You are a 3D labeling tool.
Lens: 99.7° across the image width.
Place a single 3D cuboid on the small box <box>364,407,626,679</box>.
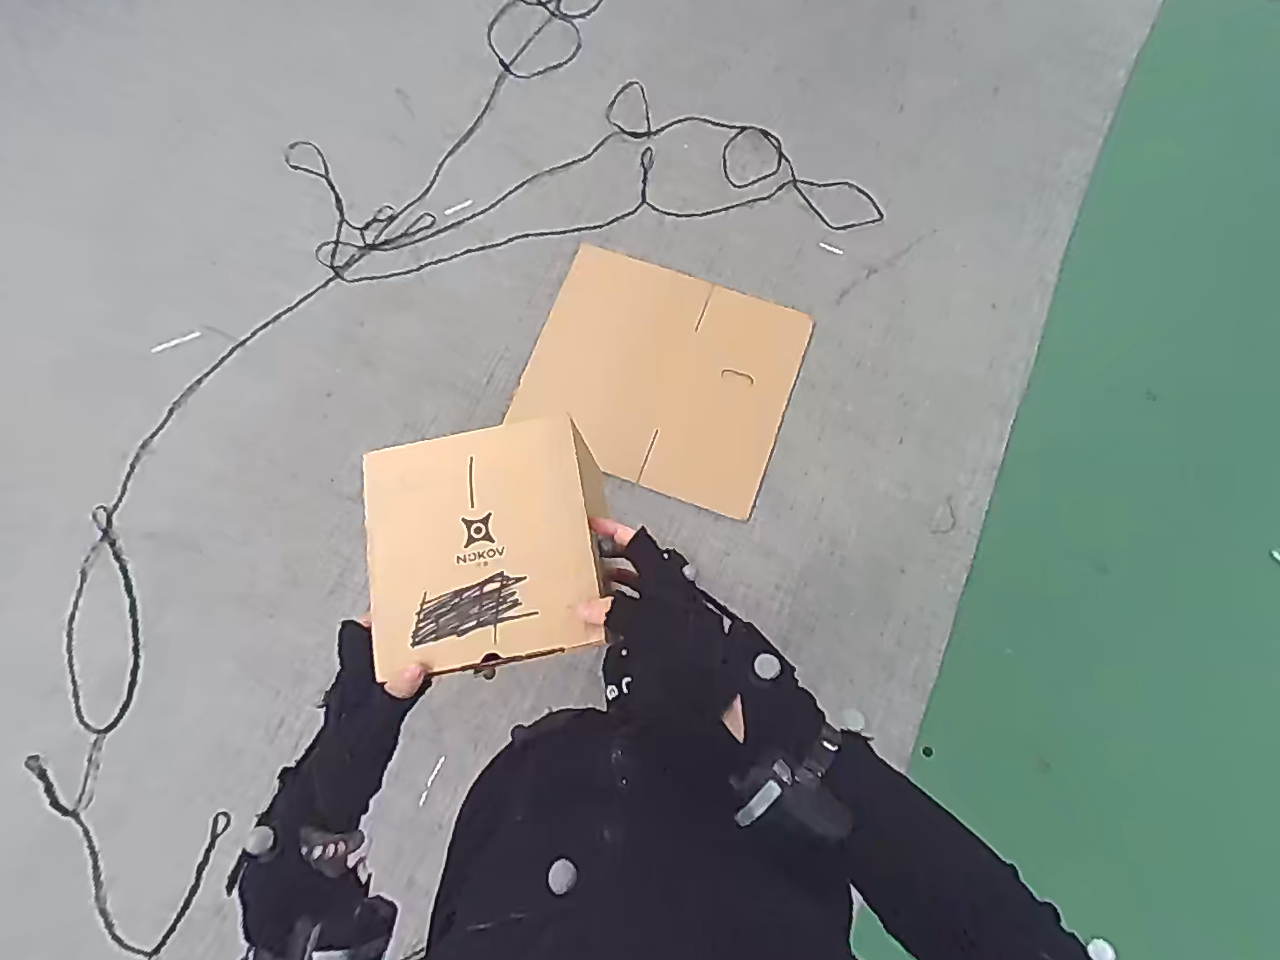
[{"bbox_3d":[-0.112,0.060,0.473,0.168,0.176,0.179,-12,75,1],"label":"small box"}]
